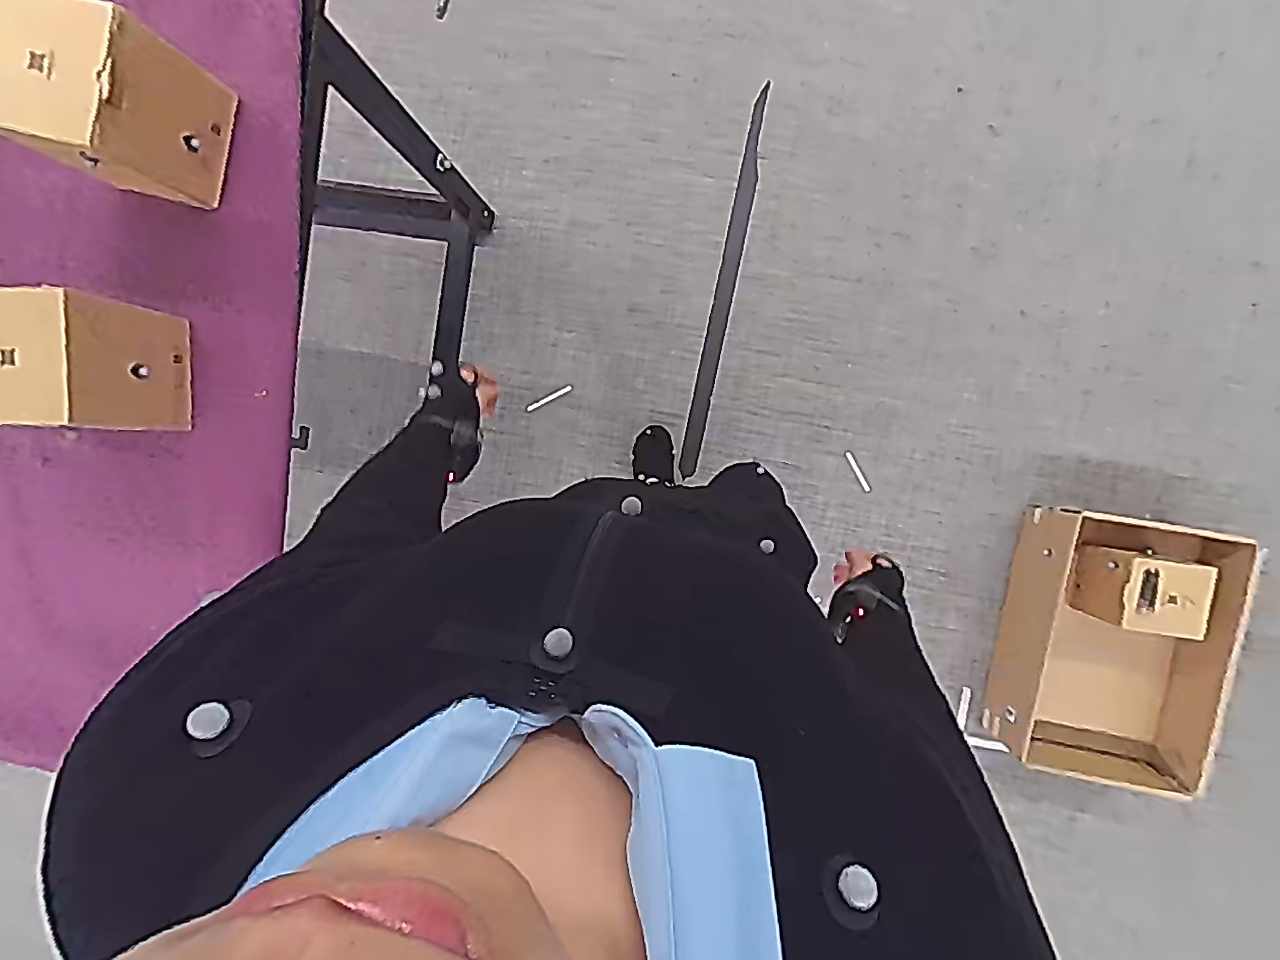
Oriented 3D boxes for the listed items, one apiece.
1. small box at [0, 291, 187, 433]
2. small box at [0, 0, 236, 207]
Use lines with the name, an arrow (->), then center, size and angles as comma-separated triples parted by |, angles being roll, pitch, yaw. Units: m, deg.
small box -> -0.764, -0.151, 0.735 | 0.179, 0.176, 0.168 | 2, 93, 6
small box -> -0.689, -0.487, 0.710 | 0.179, 0.176, 0.168 | 15, 95, 5
